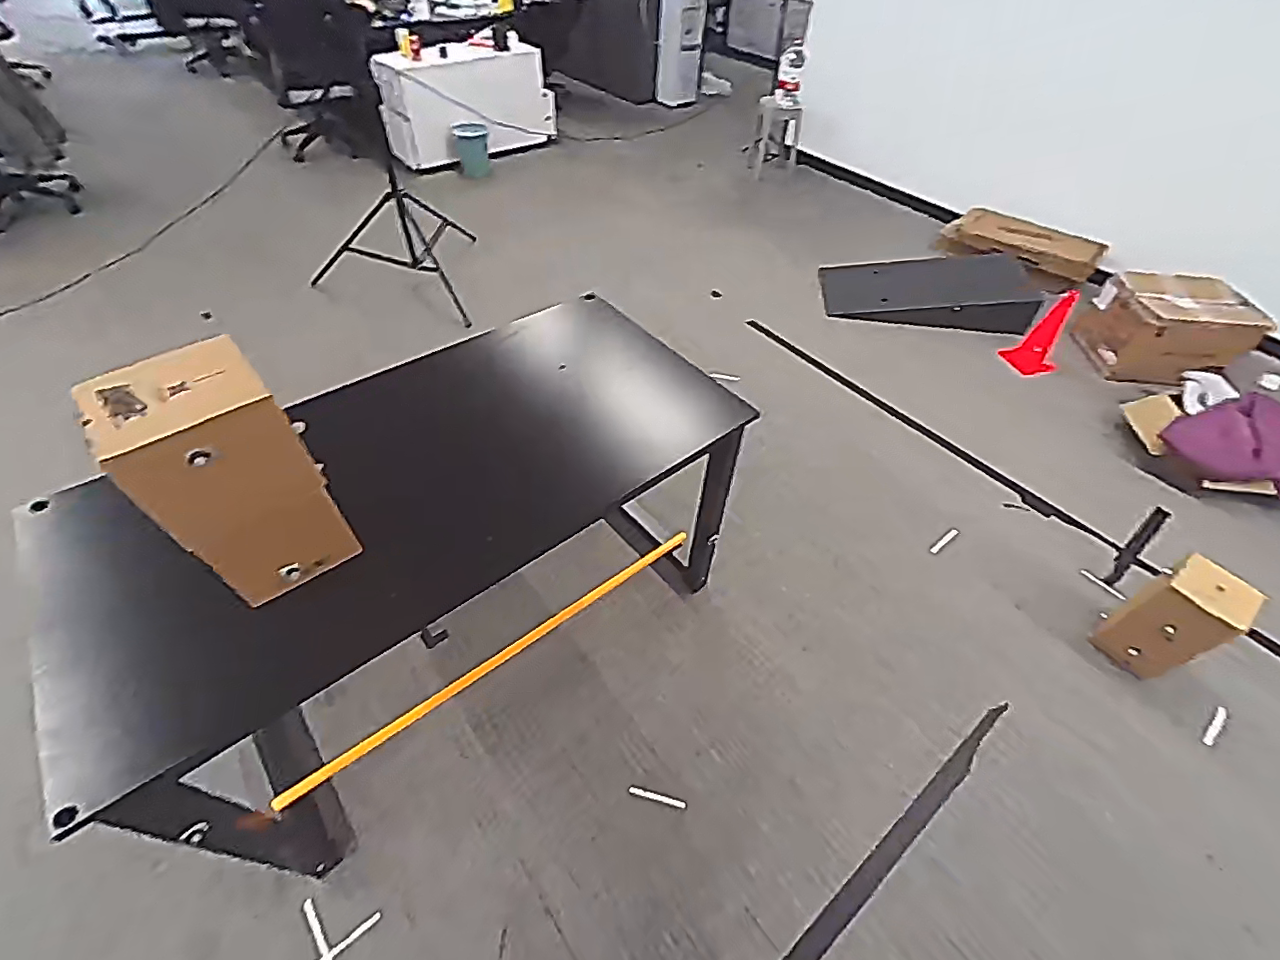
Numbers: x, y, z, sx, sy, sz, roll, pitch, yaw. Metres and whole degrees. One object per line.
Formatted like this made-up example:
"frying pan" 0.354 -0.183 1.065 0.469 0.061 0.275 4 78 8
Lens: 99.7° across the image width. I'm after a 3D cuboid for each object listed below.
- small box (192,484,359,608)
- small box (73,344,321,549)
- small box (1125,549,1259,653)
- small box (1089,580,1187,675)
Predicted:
"small box" -0.572 0.062 0.835 0.168 0.176 0.179 -33 58 -26
"small box" -0.564 -0.042 0.708 0.179 0.176 0.168 -34 58 -28
"small box" 1.464 0.324 1.446 0.179 0.176 0.168 -30 56 -25
"small box" 1.466 0.432 1.573 0.179 0.176 0.168 -31 57 -25
